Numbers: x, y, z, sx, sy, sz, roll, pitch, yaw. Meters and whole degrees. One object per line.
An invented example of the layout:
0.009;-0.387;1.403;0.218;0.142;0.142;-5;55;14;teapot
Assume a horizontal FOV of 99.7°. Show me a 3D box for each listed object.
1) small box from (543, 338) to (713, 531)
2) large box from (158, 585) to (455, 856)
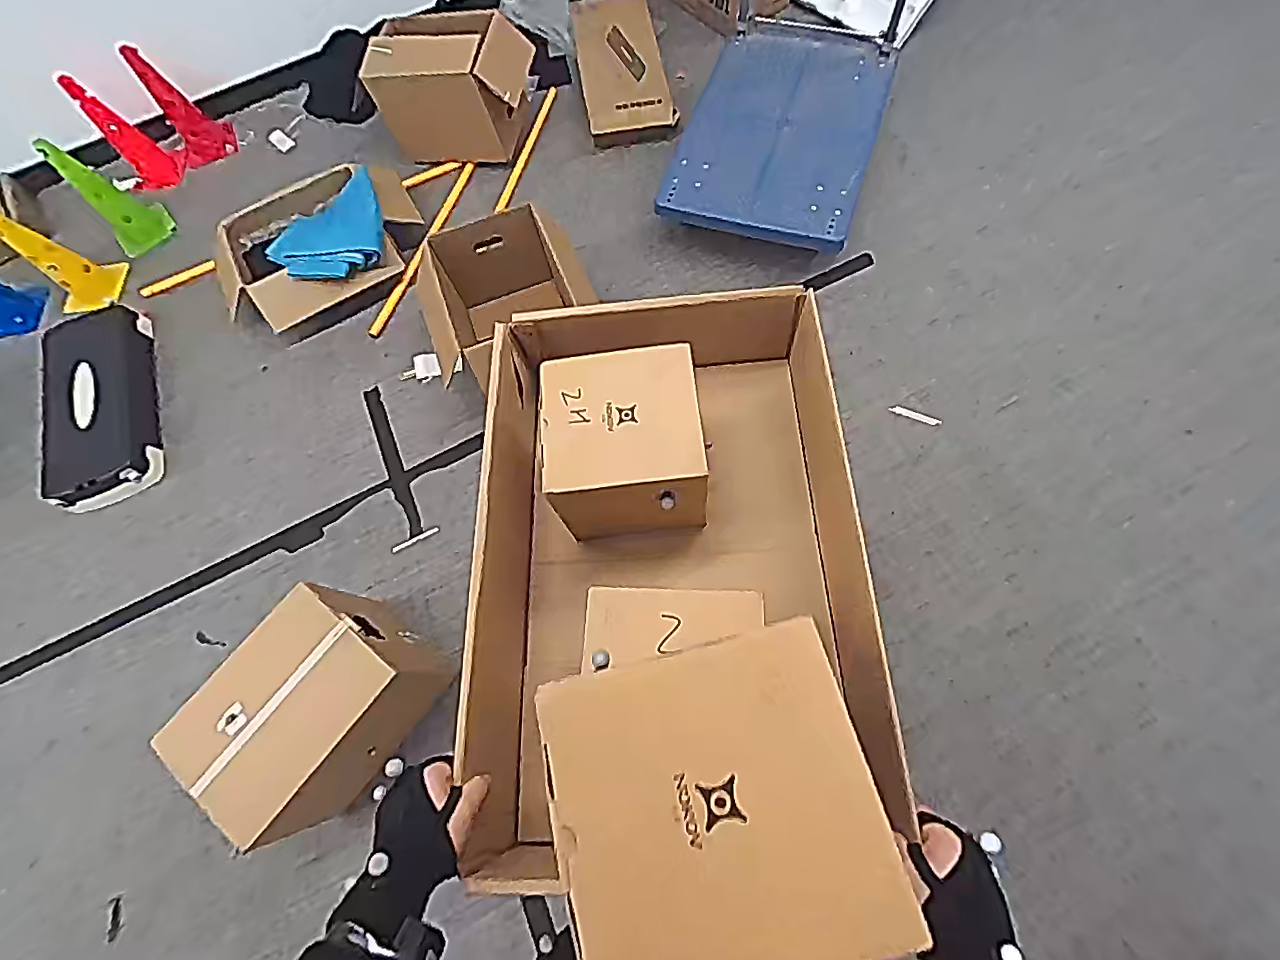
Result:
-0.012;-0.046;0.655;0.179;0.176;0.168;-7;67;3;small box
-0.704;0.504;1.210;0.320;0.320;0.408;34;77;17;large box
